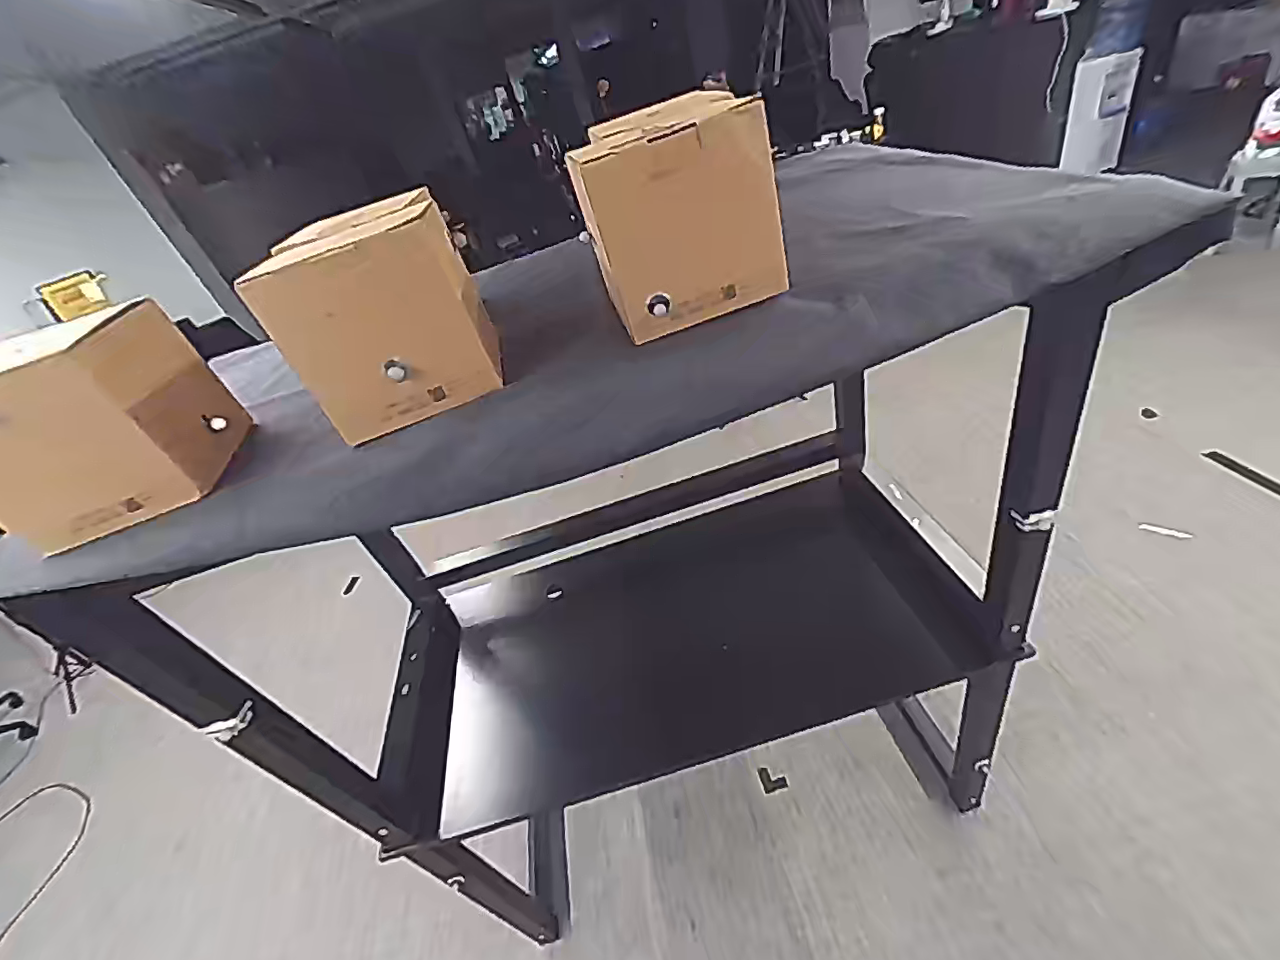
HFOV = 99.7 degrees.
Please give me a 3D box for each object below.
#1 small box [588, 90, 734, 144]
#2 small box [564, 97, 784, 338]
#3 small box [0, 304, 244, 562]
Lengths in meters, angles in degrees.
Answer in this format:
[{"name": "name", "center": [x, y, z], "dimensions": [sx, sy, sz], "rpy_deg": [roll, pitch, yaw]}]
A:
[{"name": "small box", "center": [0.037, -0.405, 0.736], "dimensions": [0.168, 0.176, 0.179], "rpy_deg": [-19, 38, 2]}, {"name": "small box", "center": [0.033, -0.264, 0.555], "dimensions": [0.168, 0.176, 0.179], "rpy_deg": [-20, 35, 0]}, {"name": "small box", "center": [-0.551, -0.051, 0.546], "dimensions": [0.168, 0.176, 0.179], "rpy_deg": [-23, 37, -4]}]
